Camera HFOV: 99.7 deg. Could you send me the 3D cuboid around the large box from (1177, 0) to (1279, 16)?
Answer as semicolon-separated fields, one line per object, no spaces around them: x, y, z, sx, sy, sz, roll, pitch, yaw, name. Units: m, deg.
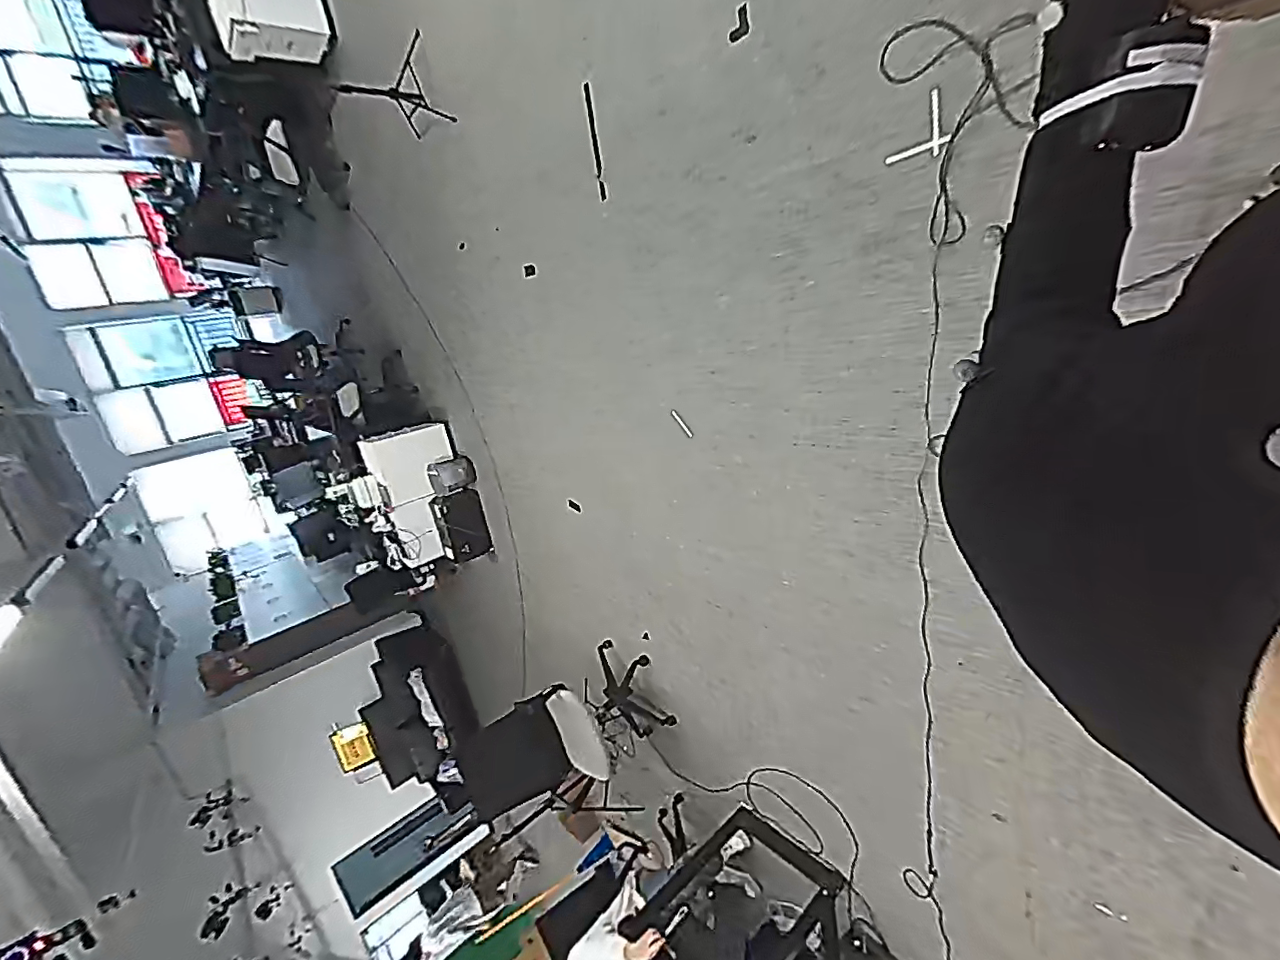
0.549;-0.491;0.236;0.408;0.320;0.320;12;126;51;large box
